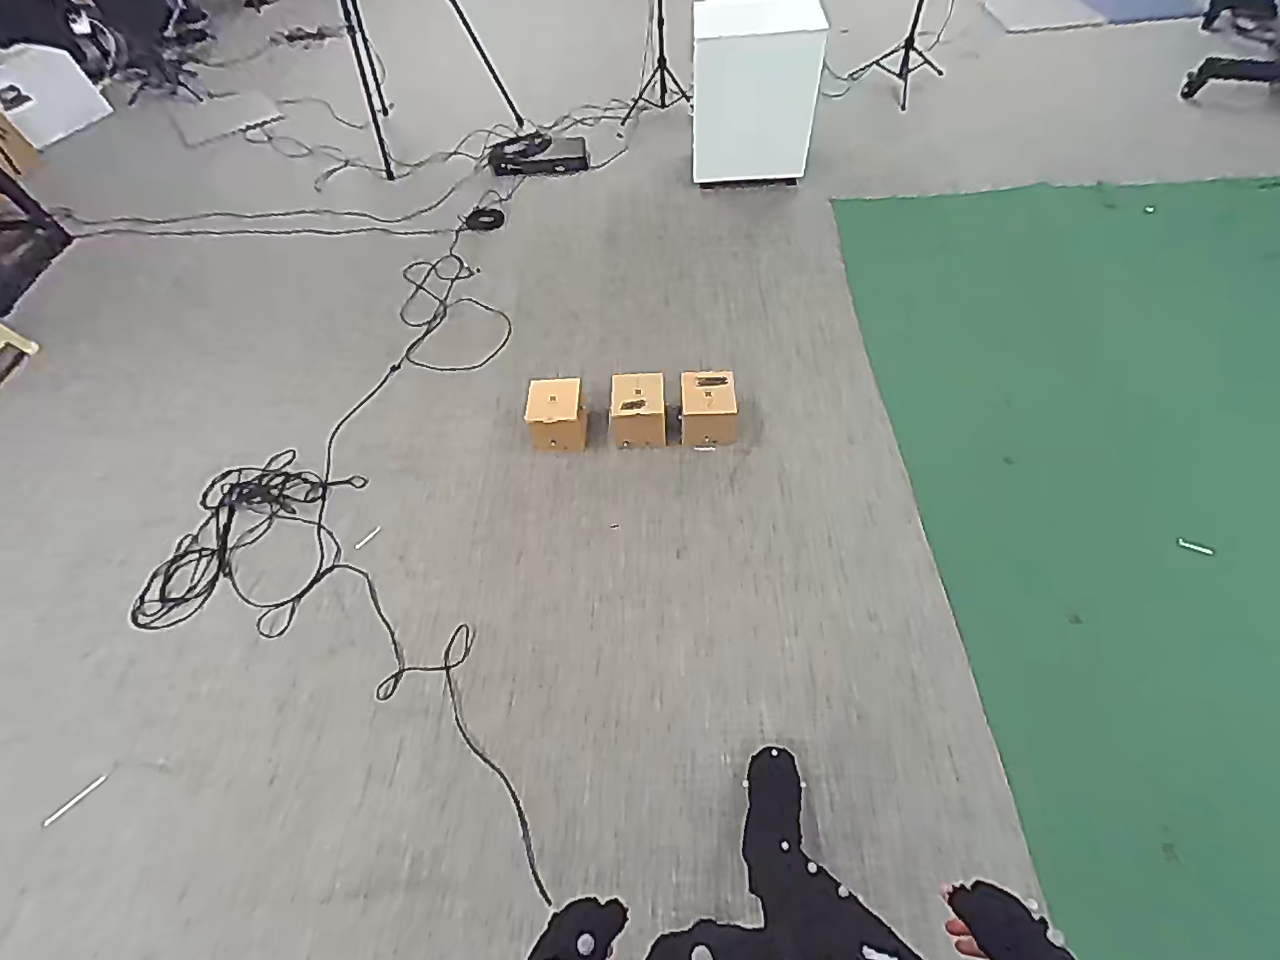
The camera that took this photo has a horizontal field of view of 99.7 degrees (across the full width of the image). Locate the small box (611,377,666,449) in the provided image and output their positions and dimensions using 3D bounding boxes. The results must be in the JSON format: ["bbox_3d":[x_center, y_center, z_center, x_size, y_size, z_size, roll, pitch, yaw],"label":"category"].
[{"bbox_3d":[-0.001,-0.213,1.779,0.168,0.176,0.179,-3,55,4],"label":"small box"}]

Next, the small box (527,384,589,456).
[{"bbox_3d":[-0.266,-0.198,1.797,0.168,0.176,0.179,-2,56,4],"label":"small box"}]
